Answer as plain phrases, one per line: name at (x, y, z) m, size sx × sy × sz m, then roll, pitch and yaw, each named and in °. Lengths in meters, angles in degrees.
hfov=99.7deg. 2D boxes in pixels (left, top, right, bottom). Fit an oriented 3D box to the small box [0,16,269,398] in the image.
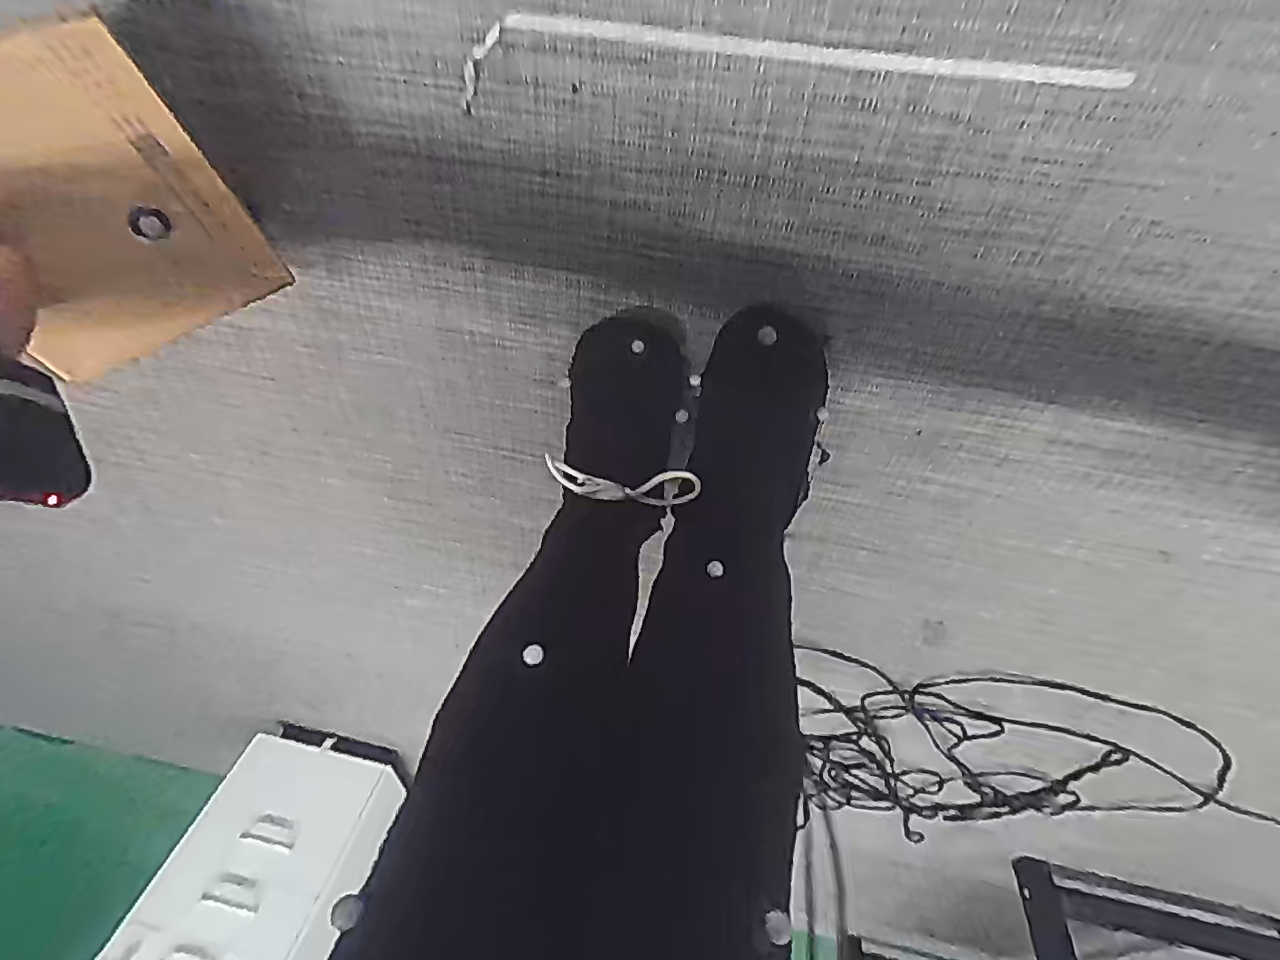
small box at (-0.401, -0.194, 0.377) m, size 0.179 × 0.176 × 0.168 m, roll 41°, pitch 158°, yaw 36°
